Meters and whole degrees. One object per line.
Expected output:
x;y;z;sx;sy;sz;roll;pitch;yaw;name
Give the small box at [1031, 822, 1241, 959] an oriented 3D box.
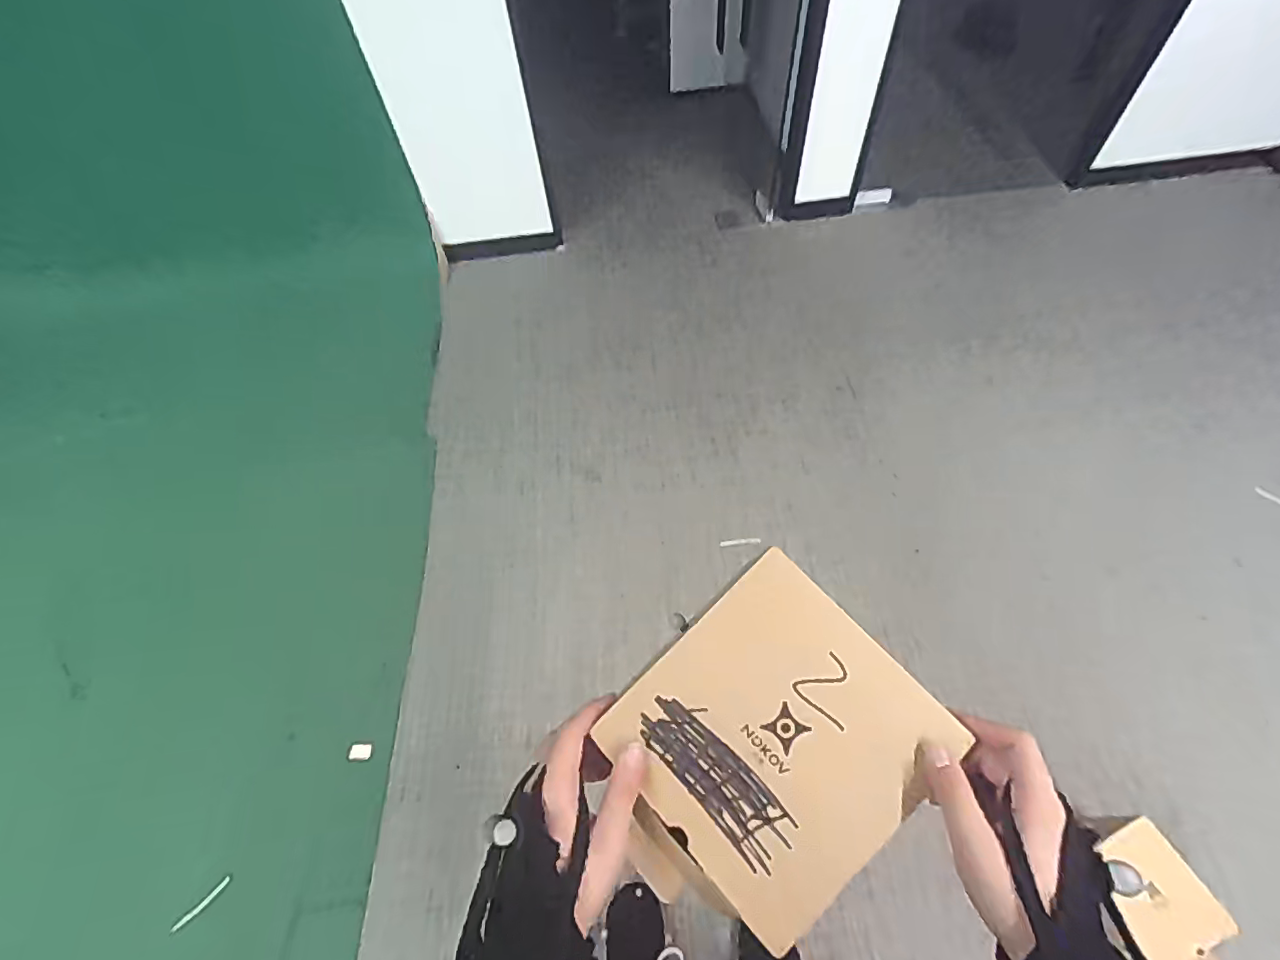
0.850;0.737;0.952;0.168;0.176;0.179;-23;59;-11;small box
